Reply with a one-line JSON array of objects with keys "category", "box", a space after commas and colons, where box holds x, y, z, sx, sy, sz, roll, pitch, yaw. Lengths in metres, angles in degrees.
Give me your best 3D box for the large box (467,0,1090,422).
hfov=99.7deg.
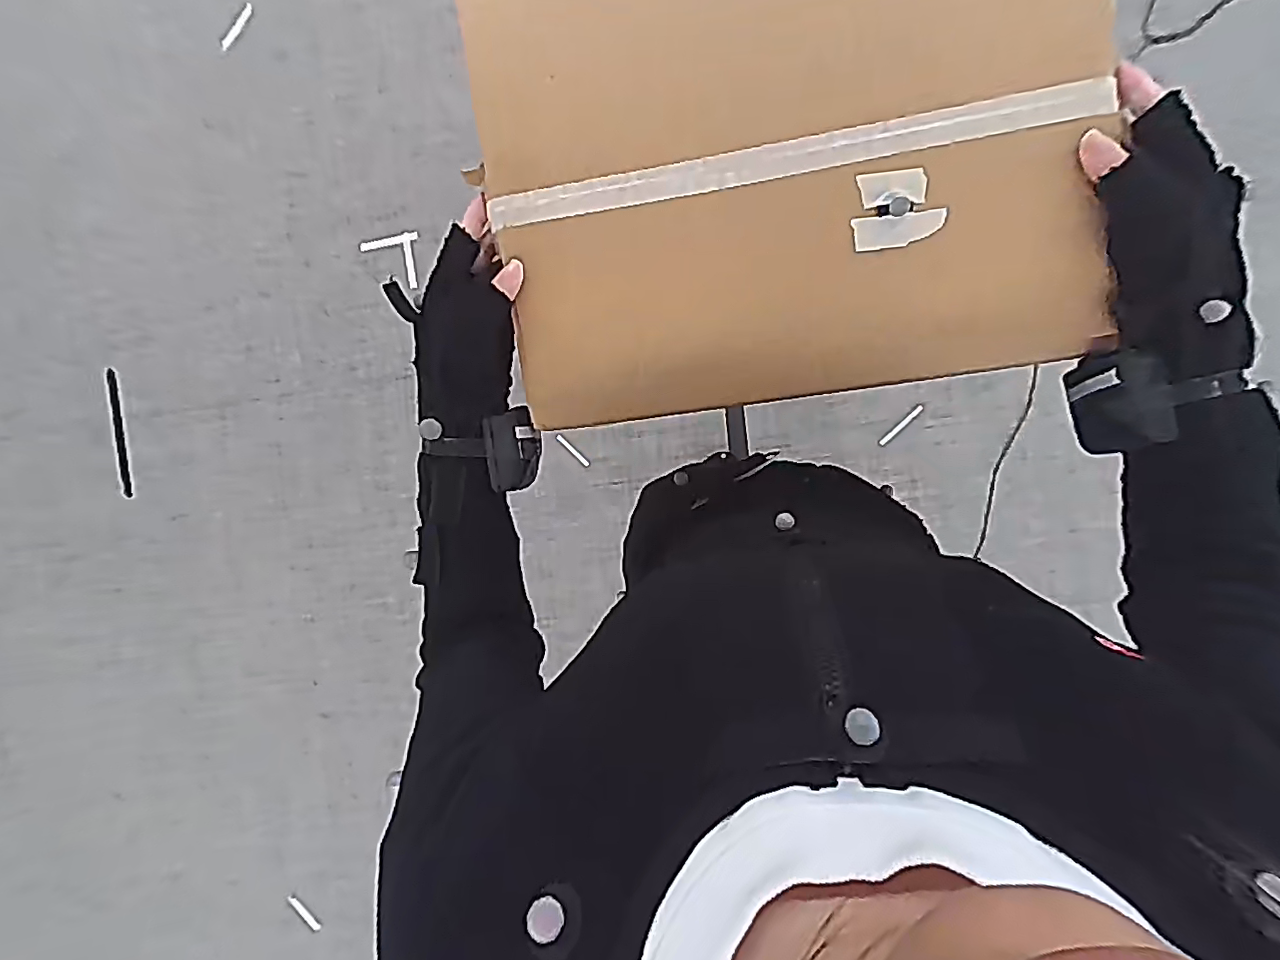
[{"category": "large box", "box": [0.107, -0.246, 0.521, 0.408, 0.320, 0.320, -8, 100, 6]}]
